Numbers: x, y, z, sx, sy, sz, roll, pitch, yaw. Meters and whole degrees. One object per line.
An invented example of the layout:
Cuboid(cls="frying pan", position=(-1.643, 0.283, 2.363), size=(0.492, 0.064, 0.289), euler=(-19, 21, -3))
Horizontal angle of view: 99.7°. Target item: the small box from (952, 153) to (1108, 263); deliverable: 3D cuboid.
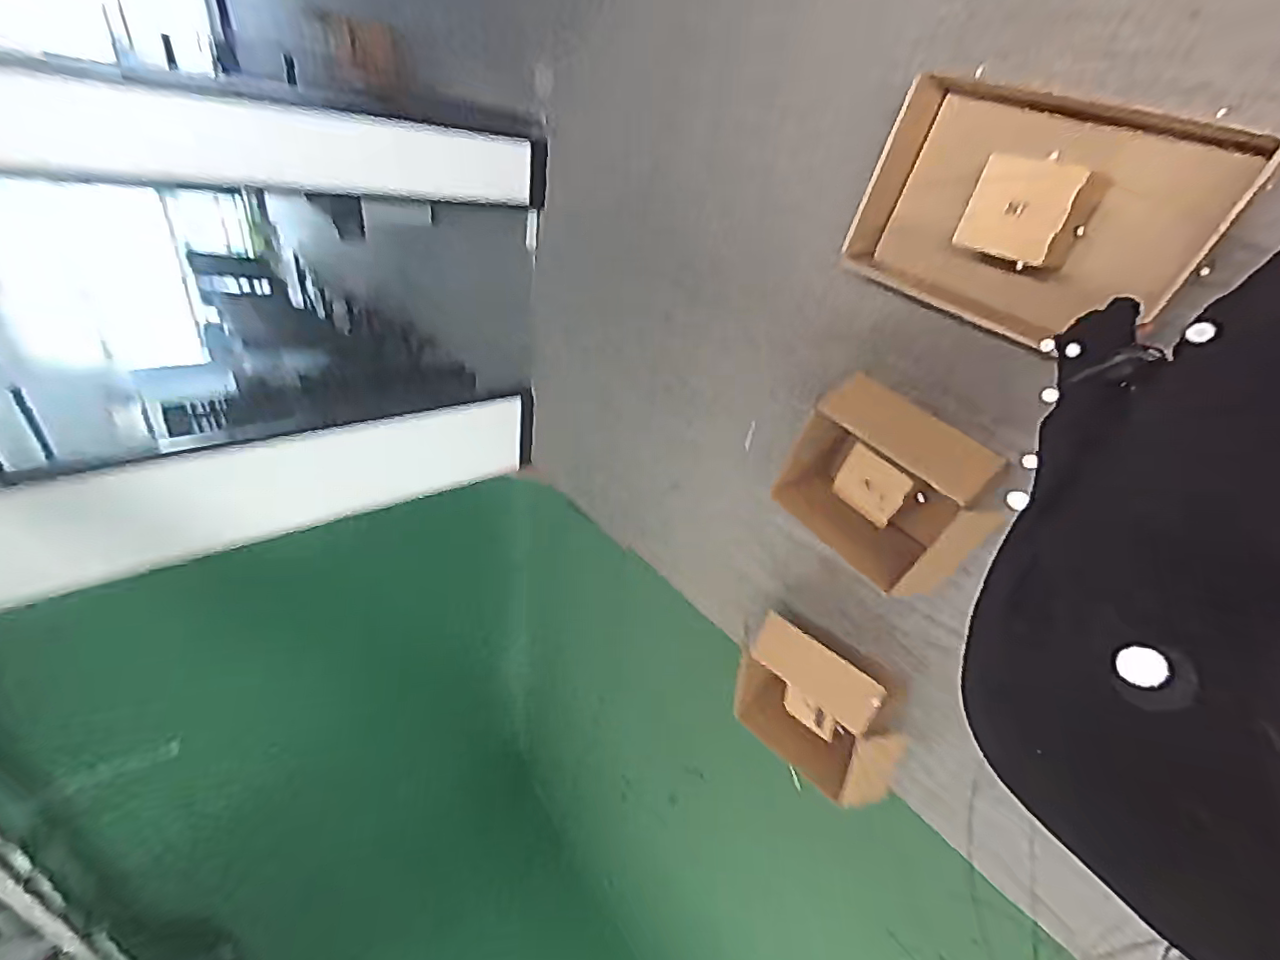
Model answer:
Cuboid(cls="small box", position=(0.776, -0.537, 1.079), size=(0.179, 0.176, 0.168), euler=(38, 131, 36))
